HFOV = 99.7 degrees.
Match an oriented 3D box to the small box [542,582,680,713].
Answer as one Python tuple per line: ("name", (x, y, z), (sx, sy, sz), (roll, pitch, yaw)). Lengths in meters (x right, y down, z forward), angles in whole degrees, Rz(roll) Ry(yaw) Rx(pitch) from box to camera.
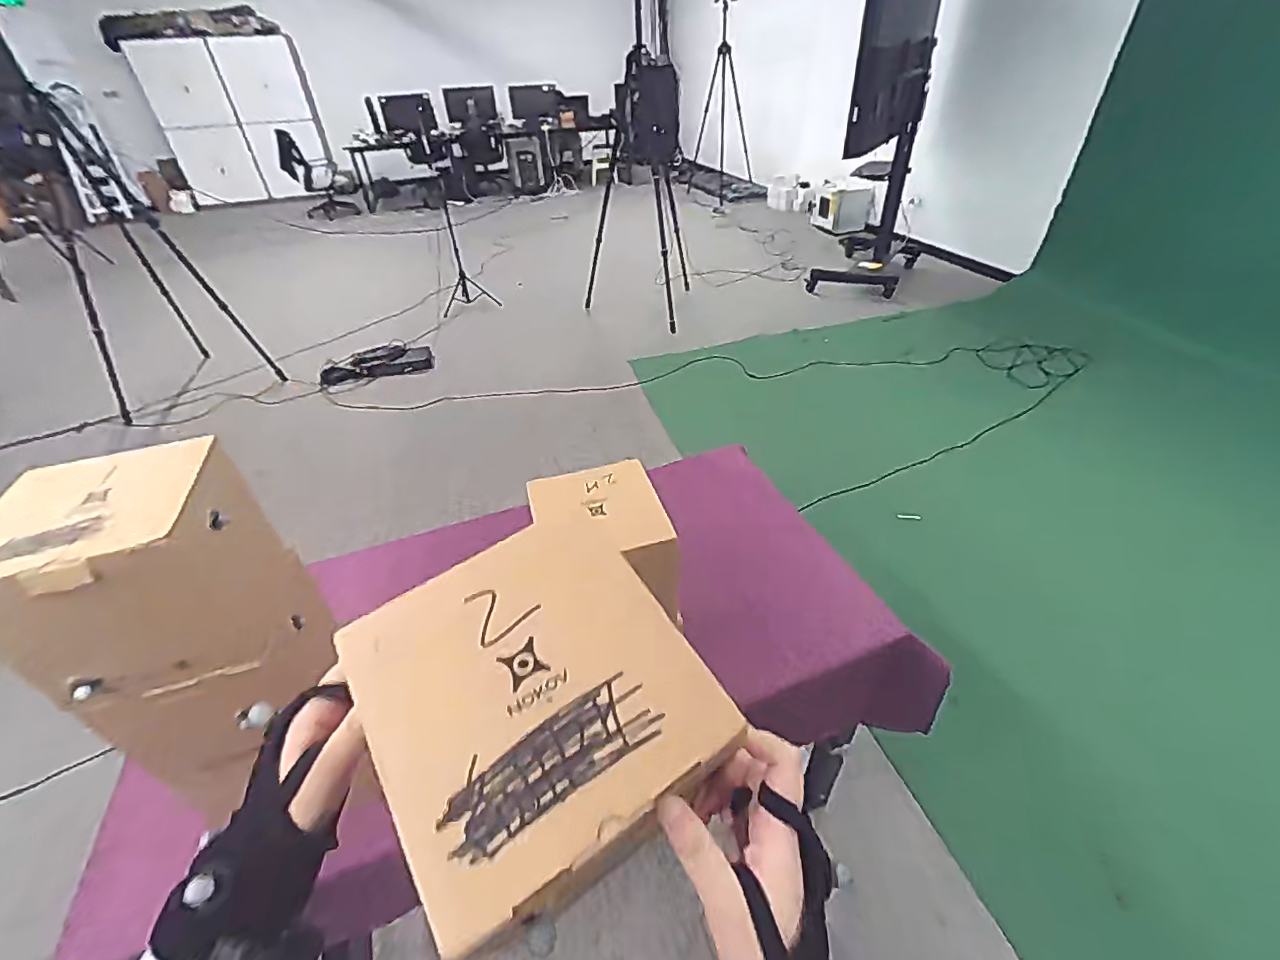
("small box", (-0.043, 0.234, 0.848), (0.179, 0.176, 0.168), (-13, 39, -12))

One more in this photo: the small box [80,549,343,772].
("small box", (-0.476, 0.216, 0.642), (0.168, 0.176, 0.179), (-13, 38, -12))

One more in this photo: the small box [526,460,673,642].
("small box", (-0.054, 0.101, 0.750), (0.168, 0.176, 0.179), (-12, 39, -11))

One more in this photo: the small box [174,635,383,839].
("small box", (-0.468, 0.348, 0.739), (0.179, 0.176, 0.168), (-14, 39, -13))

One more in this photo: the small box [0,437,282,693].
("small box", (-0.492, 0.086, 0.542), (0.168, 0.176, 0.179), (-15, 38, -15))
